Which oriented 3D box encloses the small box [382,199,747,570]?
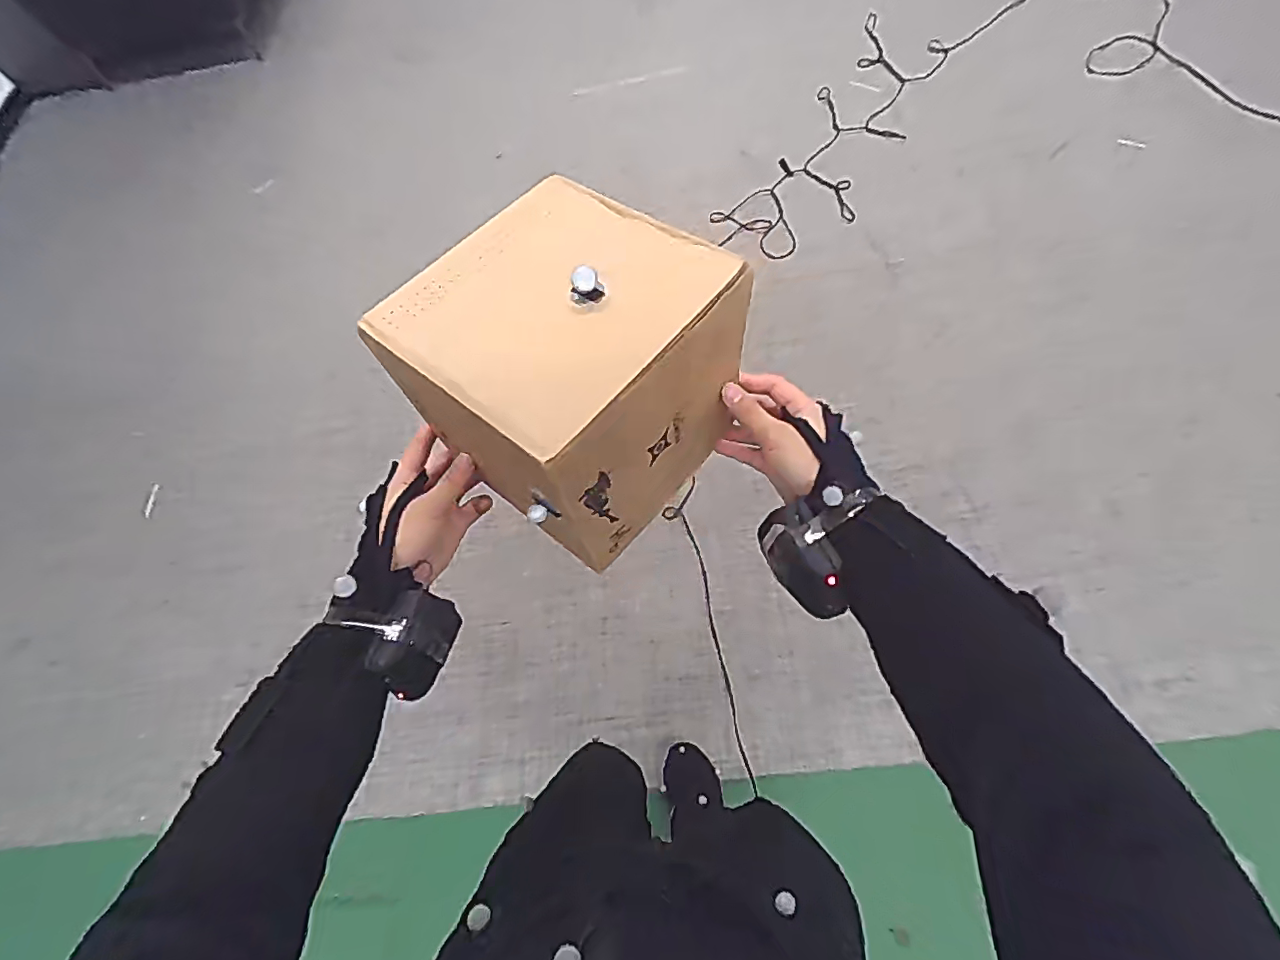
[{"bbox_3d":[-0.045,-0.072,0.402,0.176,0.168,0.179,34,69,22],"label":"small box"}]
